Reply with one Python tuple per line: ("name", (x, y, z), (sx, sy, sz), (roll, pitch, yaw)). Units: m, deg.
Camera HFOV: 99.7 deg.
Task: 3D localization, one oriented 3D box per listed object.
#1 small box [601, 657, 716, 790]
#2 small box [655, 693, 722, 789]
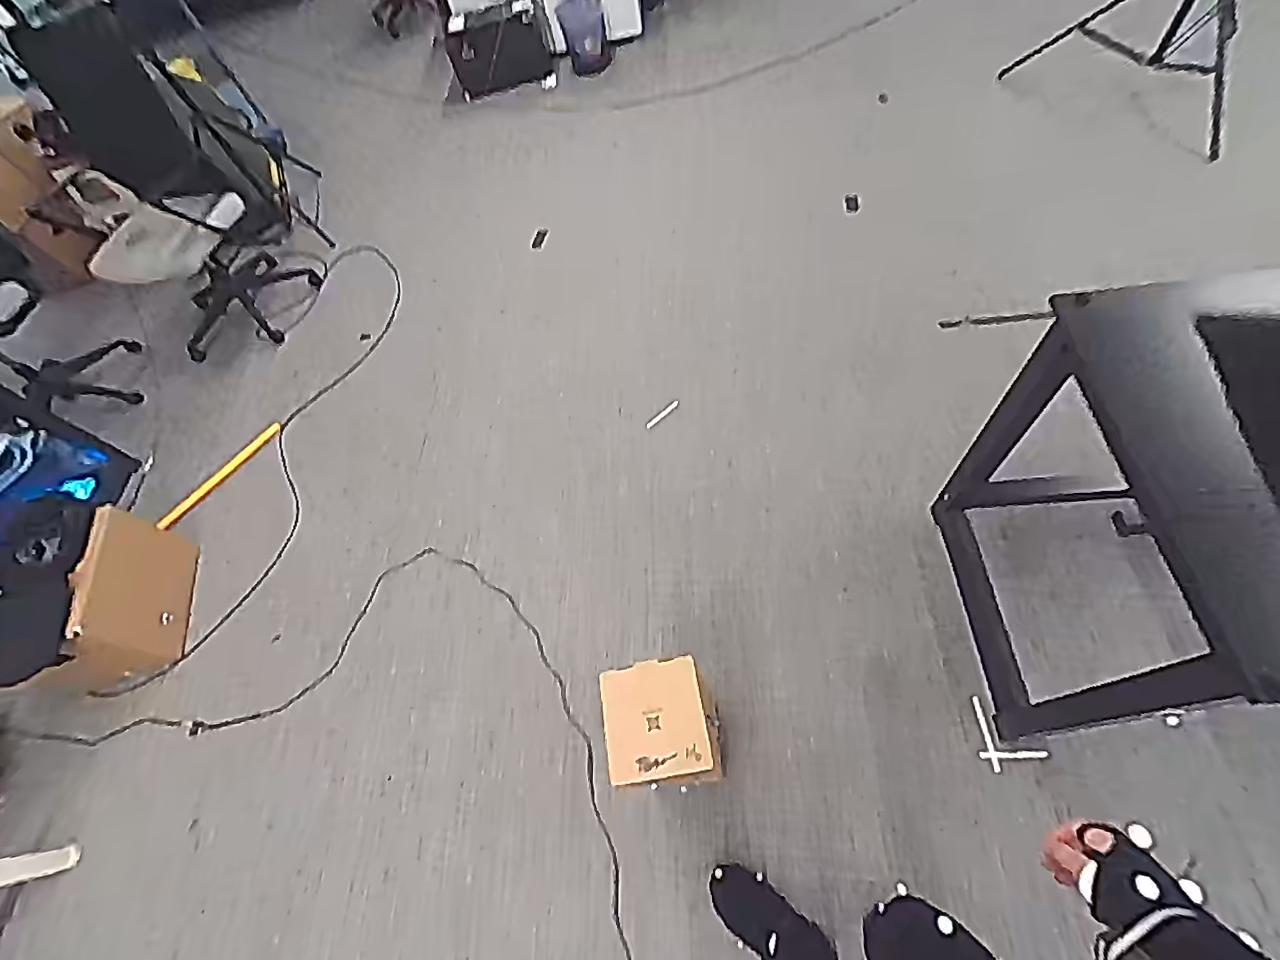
("small box", (0.034, 0.430, 0.946), (0.168, 0.176, 0.179), (-13, 58, 4))
("small box", (0.092, 0.594, 1.222), (0.168, 0.176, 0.179), (-8, 60, 7))
